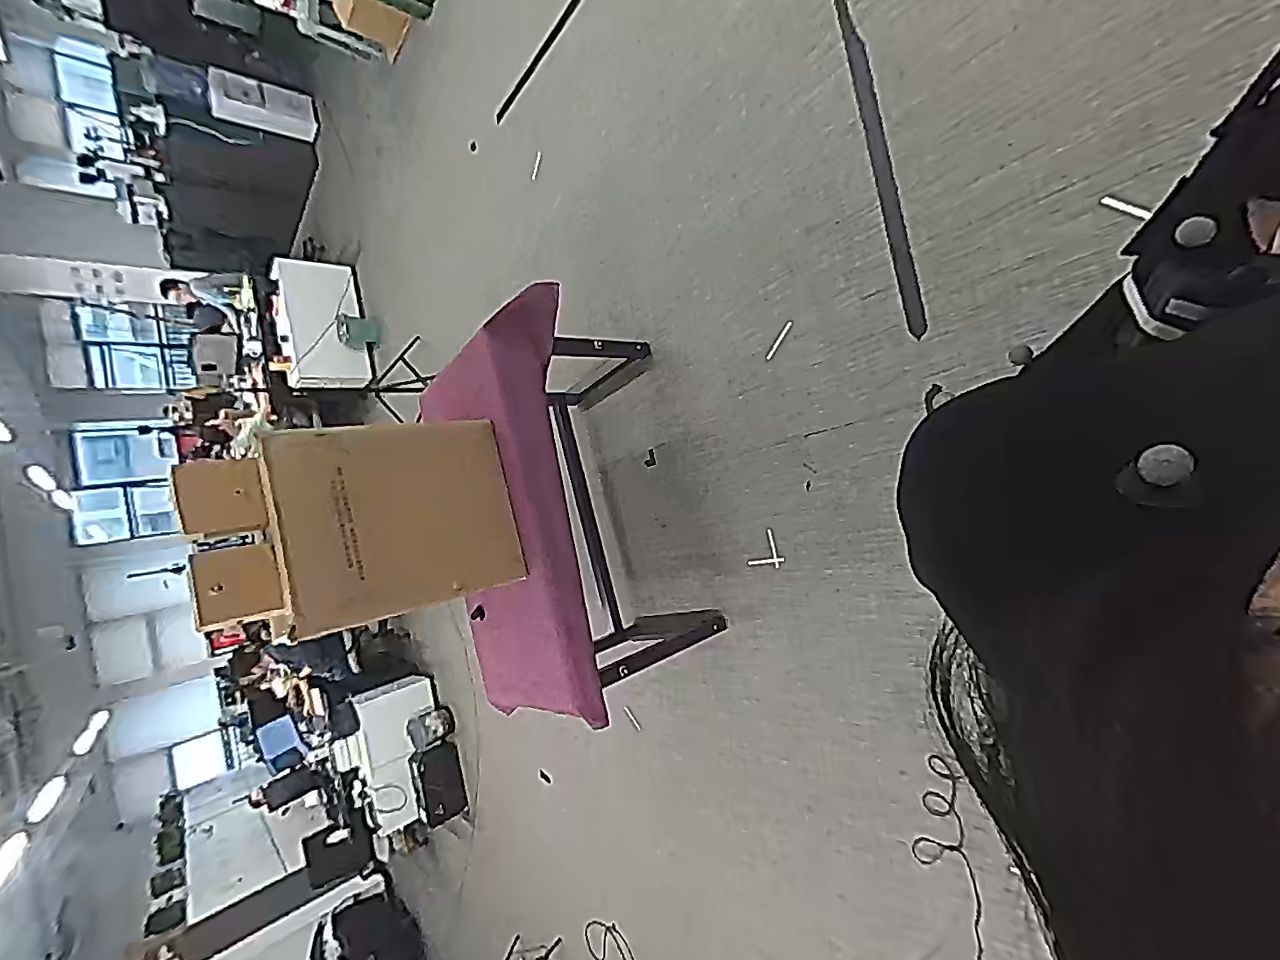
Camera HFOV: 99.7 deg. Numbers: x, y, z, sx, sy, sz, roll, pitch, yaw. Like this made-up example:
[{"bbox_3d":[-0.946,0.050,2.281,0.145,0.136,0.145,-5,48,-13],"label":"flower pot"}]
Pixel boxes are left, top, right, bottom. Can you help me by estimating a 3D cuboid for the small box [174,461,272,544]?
[{"bbox_3d":[-1.058,0.053,1.371,0.168,0.176,0.179,-20,83,47],"label":"small box"}]
